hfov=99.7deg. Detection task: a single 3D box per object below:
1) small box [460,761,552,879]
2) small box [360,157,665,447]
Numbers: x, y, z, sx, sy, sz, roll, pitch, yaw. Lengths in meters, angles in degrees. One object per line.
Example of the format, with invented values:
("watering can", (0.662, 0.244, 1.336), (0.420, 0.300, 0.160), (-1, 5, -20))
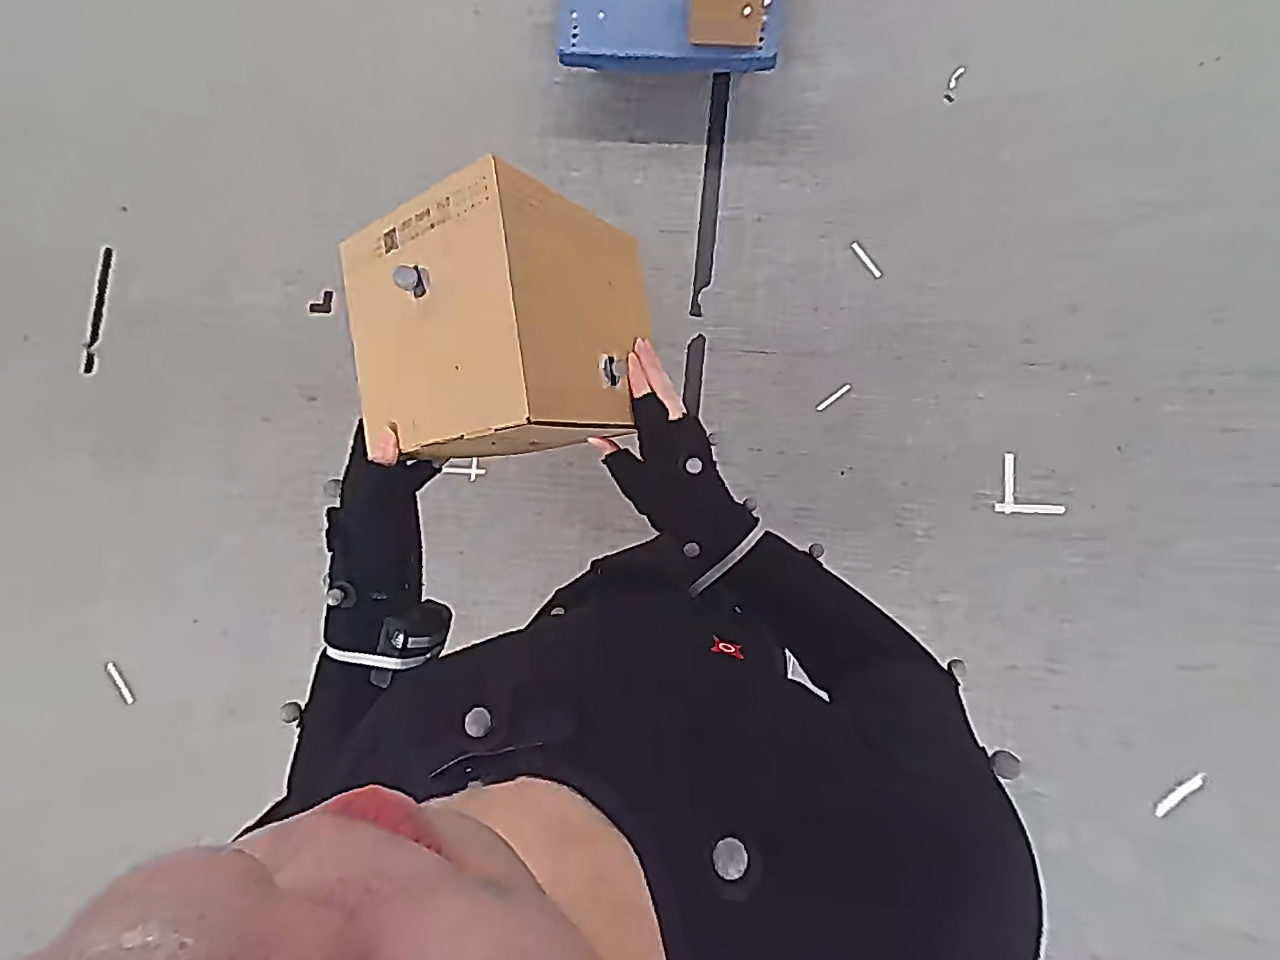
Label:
("small box", (-0.302, 0.776, 1.247), (0.168, 0.176, 0.179), (-3, 85, 4))
("small box", (-0.096, -0.122, 0.442), (0.168, 0.179, 0.176), (-7, 90, 31))
